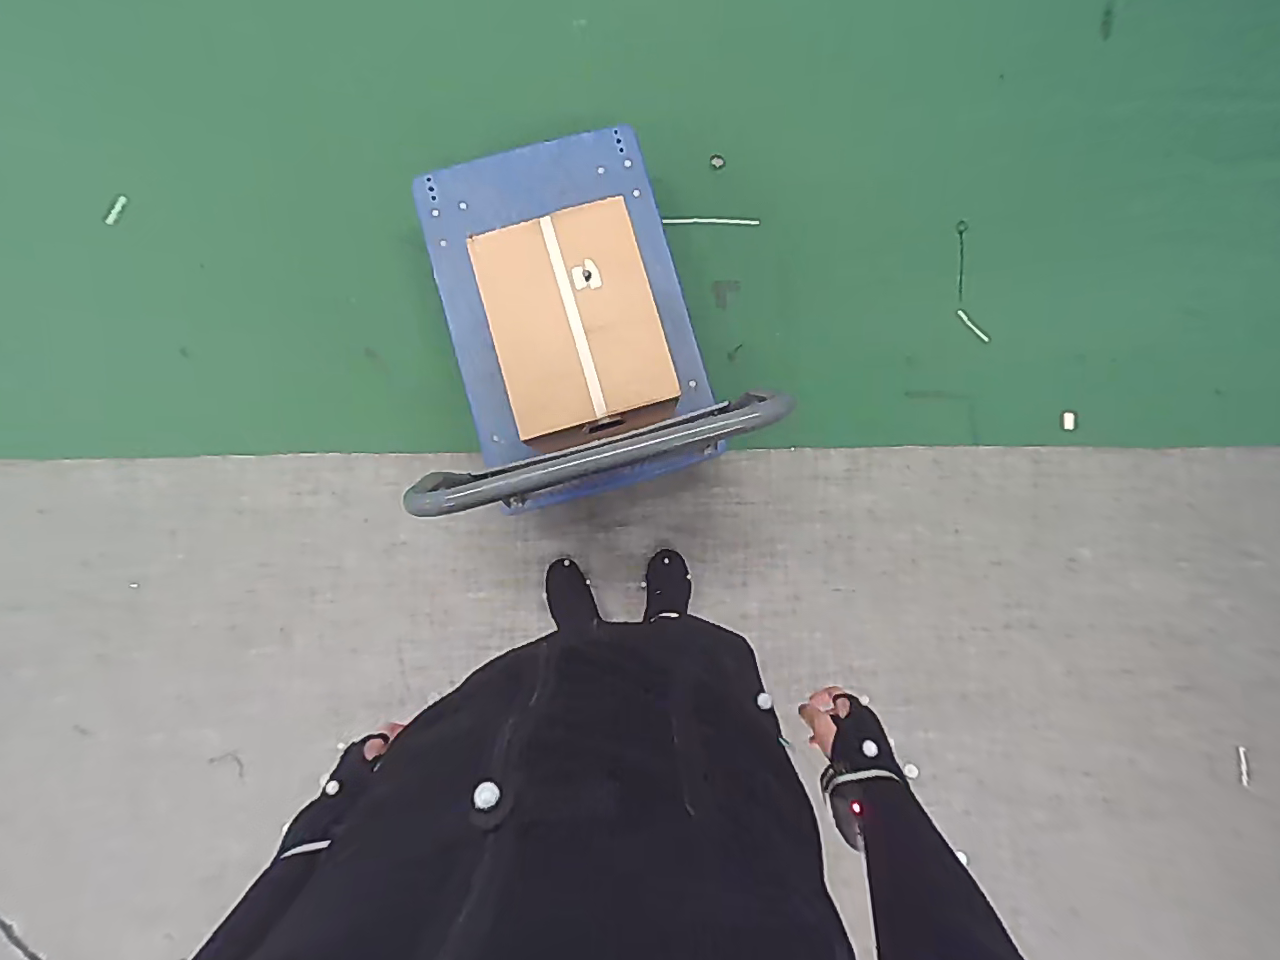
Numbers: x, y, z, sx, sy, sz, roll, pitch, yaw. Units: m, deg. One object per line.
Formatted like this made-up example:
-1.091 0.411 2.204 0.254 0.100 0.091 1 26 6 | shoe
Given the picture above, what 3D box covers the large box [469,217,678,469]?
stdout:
-0.128 -0.269 1.180 0.320 0.320 0.408 -16 85 -2 | large box
